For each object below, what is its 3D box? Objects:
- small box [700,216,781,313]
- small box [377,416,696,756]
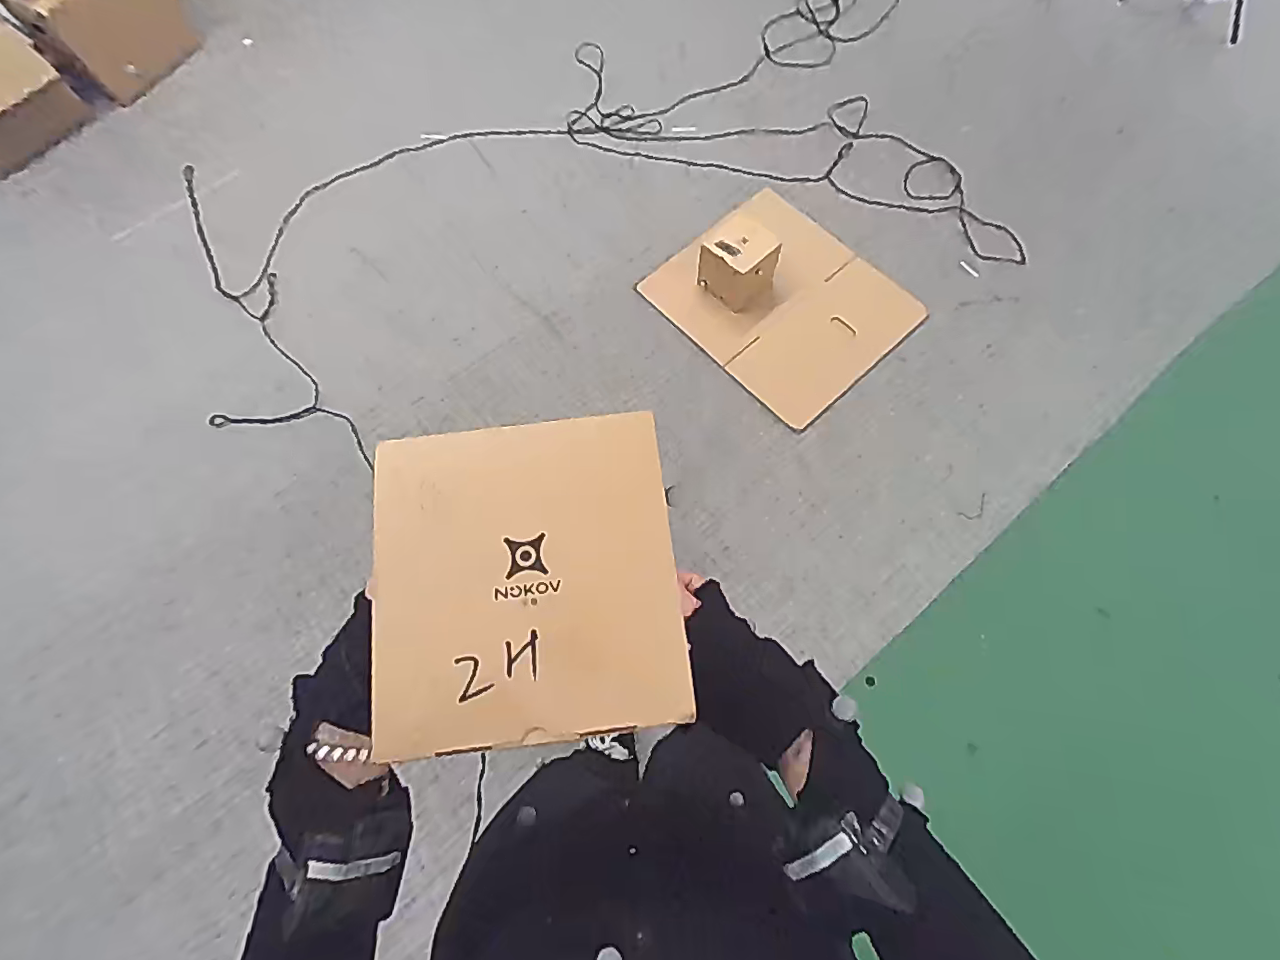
[{"bbox_3d":[0.295,-0.643,1.630,0.179,0.176,0.168,-42,74,-14],"label":"small box"},{"bbox_3d":[-0.061,0.074,0.376,0.168,0.176,0.179,-6,74,-2],"label":"small box"}]
